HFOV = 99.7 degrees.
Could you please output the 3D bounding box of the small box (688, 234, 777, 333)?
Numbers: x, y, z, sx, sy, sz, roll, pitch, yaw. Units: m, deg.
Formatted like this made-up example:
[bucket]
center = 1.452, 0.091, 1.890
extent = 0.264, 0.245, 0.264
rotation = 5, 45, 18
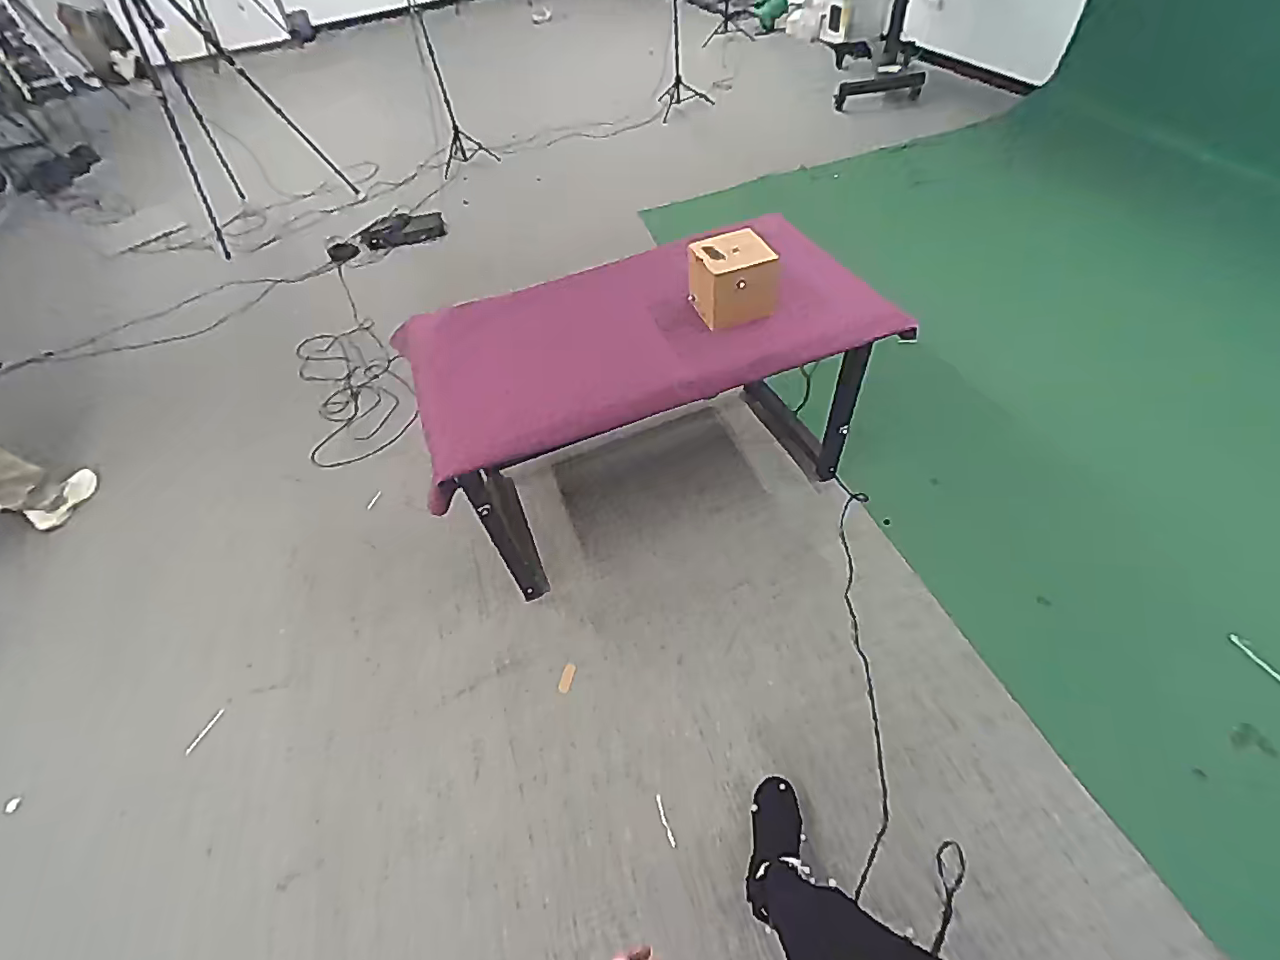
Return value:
[small box]
center = 0.238, -0.509, 1.416
extent = 0.179, 0.176, 0.168
rotation = -18, 52, -8
